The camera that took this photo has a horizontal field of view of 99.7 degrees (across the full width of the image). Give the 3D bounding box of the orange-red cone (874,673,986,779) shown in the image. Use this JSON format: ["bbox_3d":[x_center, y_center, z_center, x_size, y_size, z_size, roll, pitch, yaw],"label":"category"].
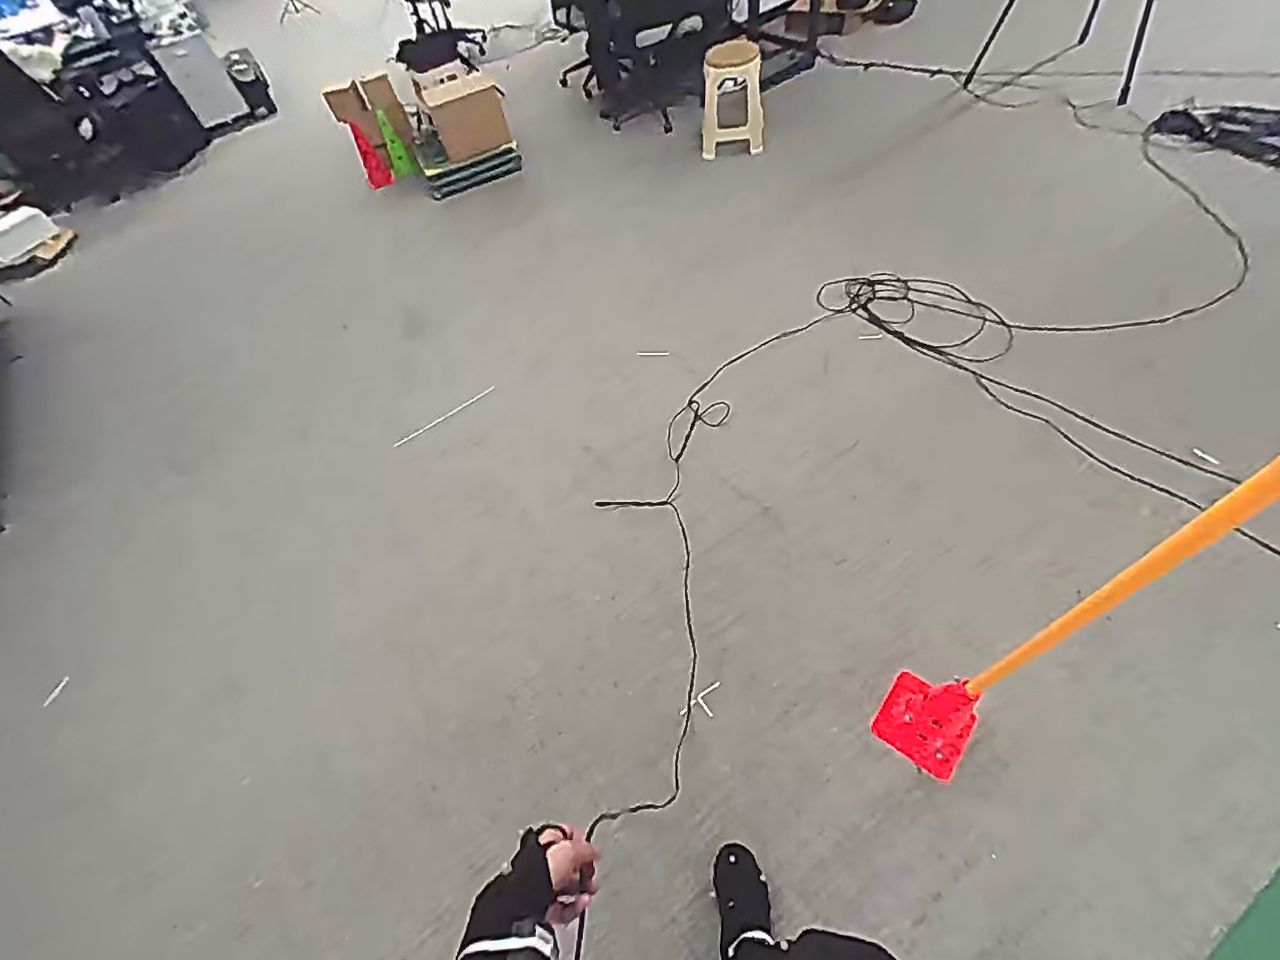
[{"bbox_3d":[0.700,0.519,1.233,0.198,0.360,0.199,32,65,27],"label":"orange-red cone"}]
